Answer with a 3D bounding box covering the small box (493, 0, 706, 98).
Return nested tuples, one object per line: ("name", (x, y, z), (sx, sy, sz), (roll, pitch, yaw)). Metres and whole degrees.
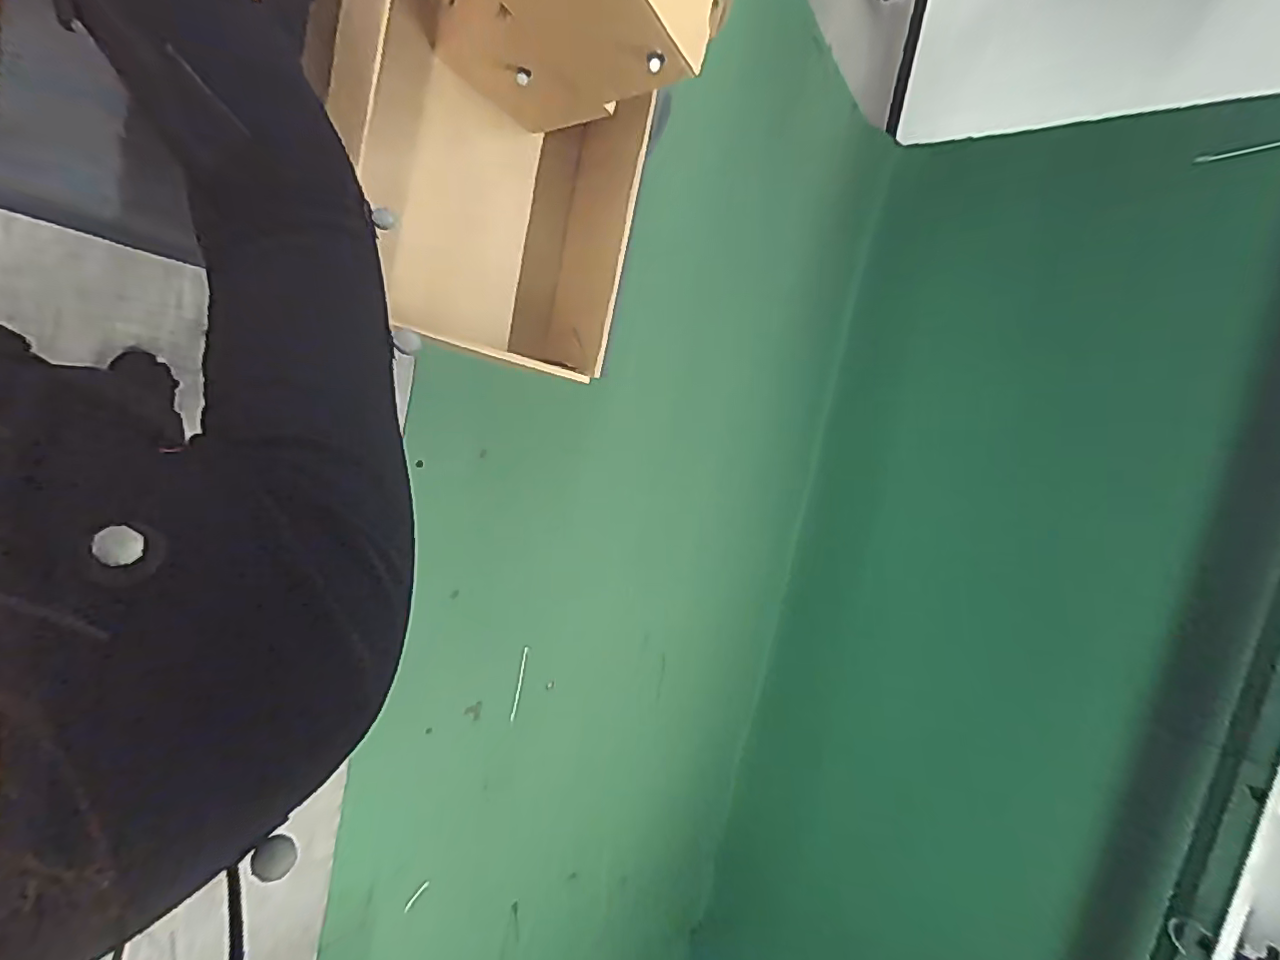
("small box", (-0.040, -0.565, 0.598), (0.179, 0.176, 0.168), (17, 90, -54))
